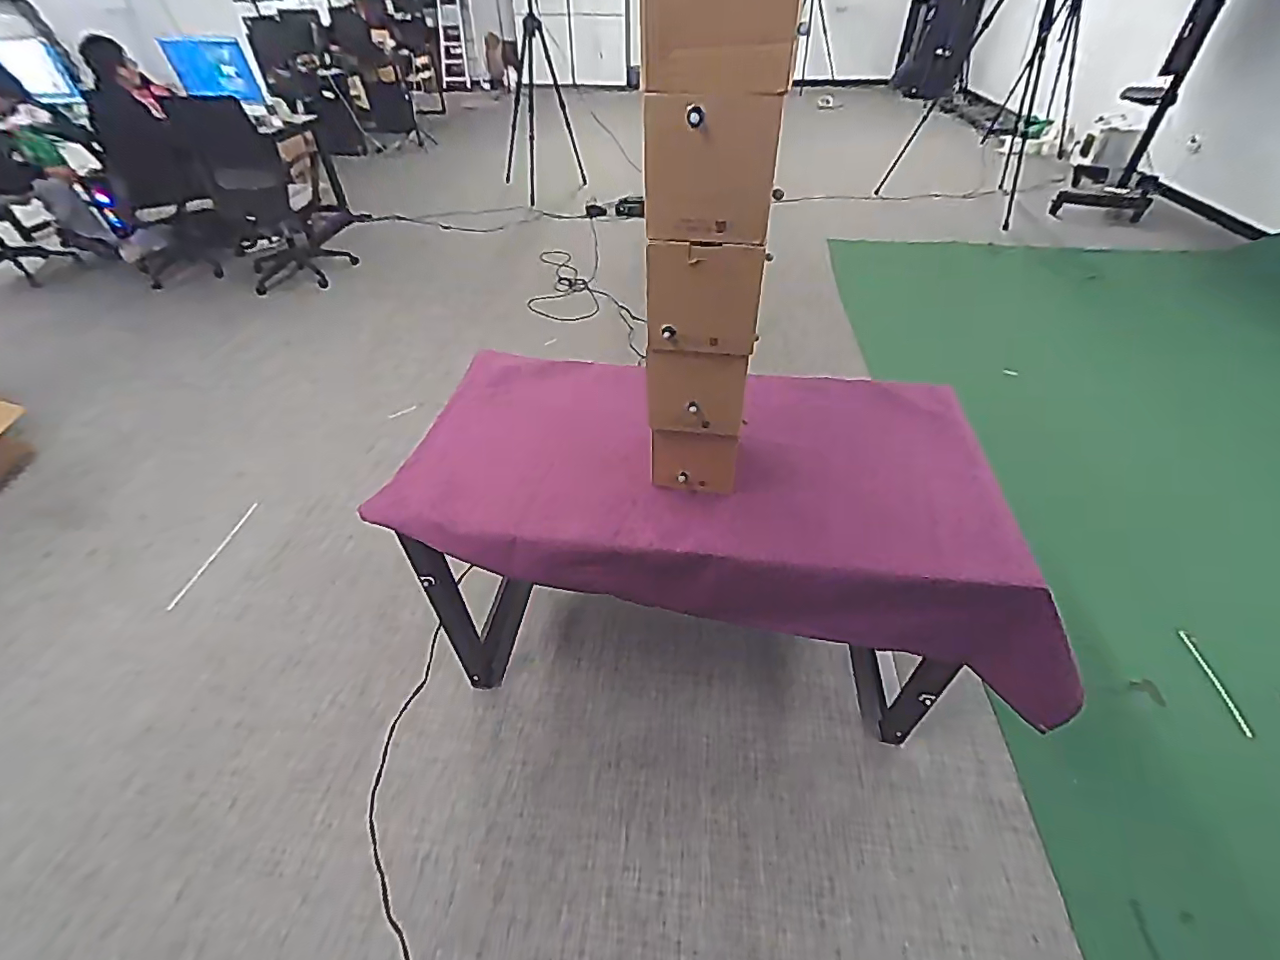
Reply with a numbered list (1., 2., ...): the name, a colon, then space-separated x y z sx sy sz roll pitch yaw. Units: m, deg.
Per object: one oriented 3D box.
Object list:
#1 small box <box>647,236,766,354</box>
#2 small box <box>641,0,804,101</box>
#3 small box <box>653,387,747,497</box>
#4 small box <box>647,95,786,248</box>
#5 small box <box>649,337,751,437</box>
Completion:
1. small box: 0.109 -0.314 0.855 0.168 0.176 0.179 6 43 9
2. small box: 0.100 -0.556 0.635 0.179 0.176 0.168 9 45 11
3. small box: 0.121 -0.092 1.096 0.168 0.176 0.179 7 44 10
4. small box: 0.106 -0.438 0.747 0.168 0.176 0.179 7 43 10
5. small box: 0.110 -0.201 0.974 0.168 0.176 0.179 5 44 9
